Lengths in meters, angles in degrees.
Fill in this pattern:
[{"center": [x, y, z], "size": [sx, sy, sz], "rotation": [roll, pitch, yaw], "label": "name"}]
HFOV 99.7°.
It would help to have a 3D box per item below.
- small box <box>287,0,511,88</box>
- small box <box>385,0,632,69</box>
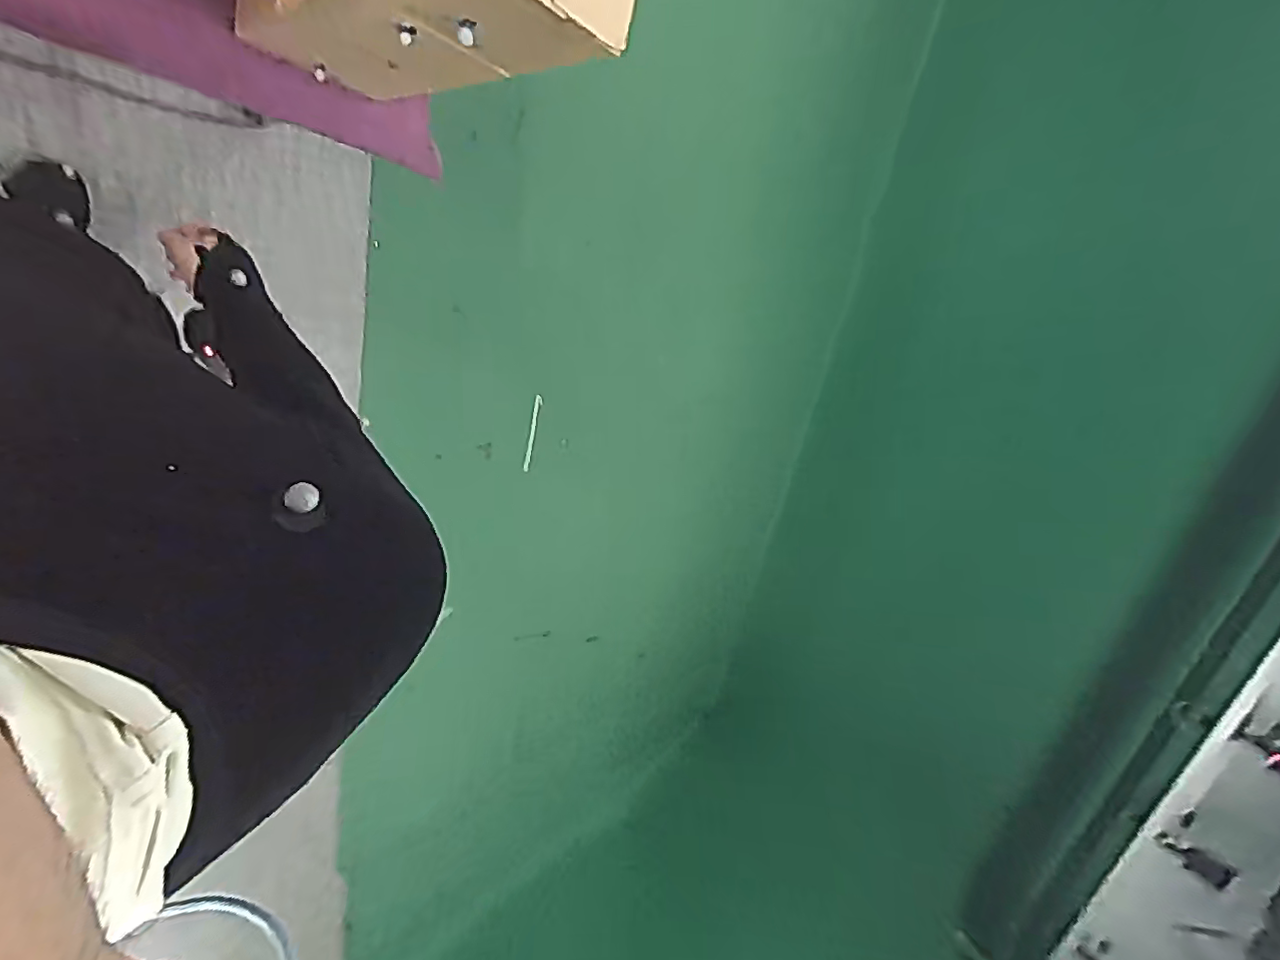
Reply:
[{"center": [-0.226, -0.519, 0.523], "size": [0.168, 0.176, 0.179], "rotation": [-4, 114, -48], "label": "small box"}, {"center": [-0.109, -0.462, 0.422], "size": [0.168, 0.176, 0.179], "rotation": [-5, 116, -48], "label": "small box"}]
